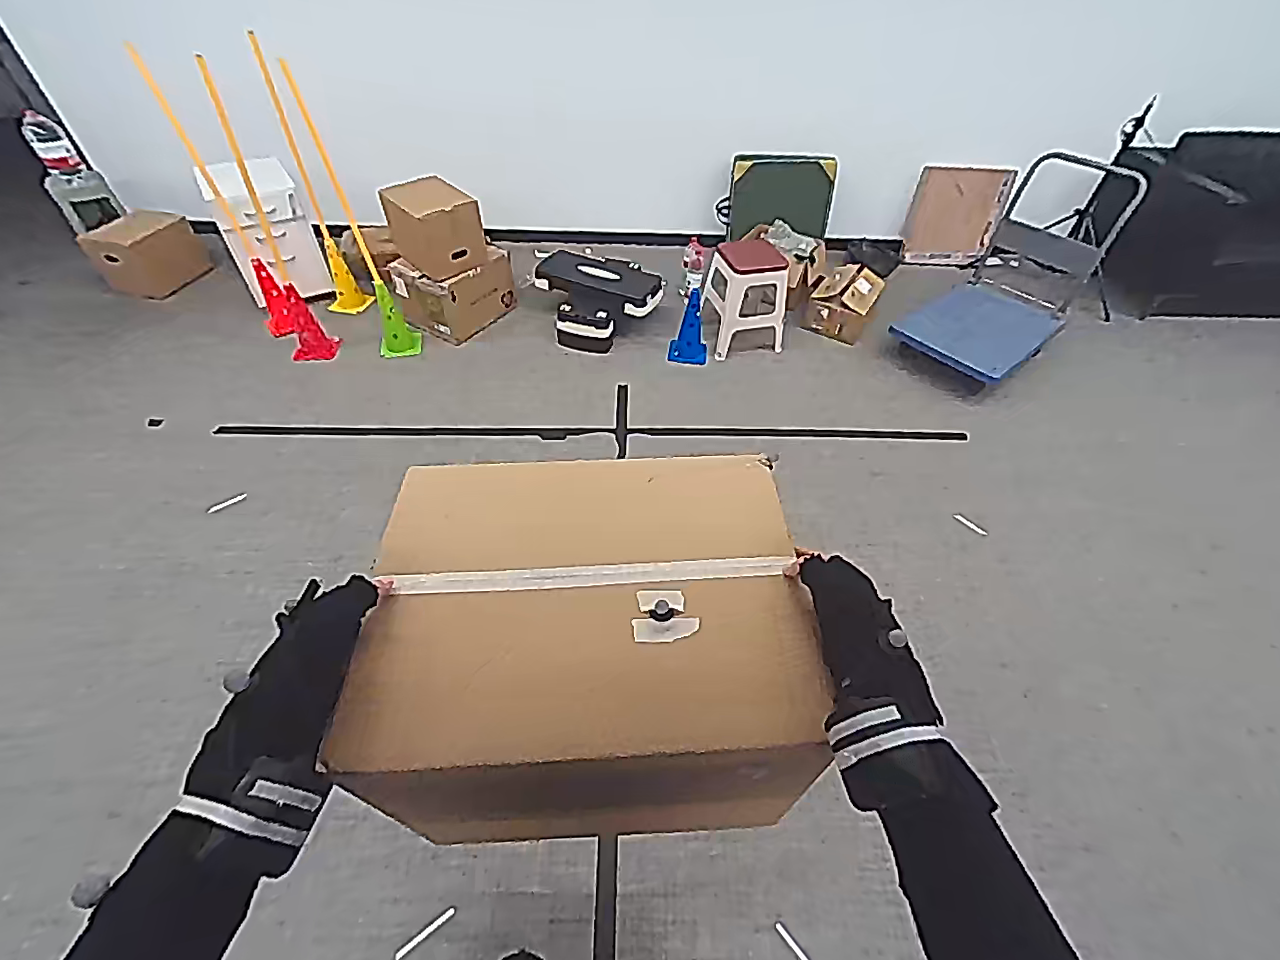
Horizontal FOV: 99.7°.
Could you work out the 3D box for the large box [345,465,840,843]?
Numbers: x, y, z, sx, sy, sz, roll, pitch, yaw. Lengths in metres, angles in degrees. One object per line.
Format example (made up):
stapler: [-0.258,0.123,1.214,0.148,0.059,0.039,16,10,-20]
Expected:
large box: [-0.045,0.204,0.636,0.408,0.320,0.320,-2,48,-2]
